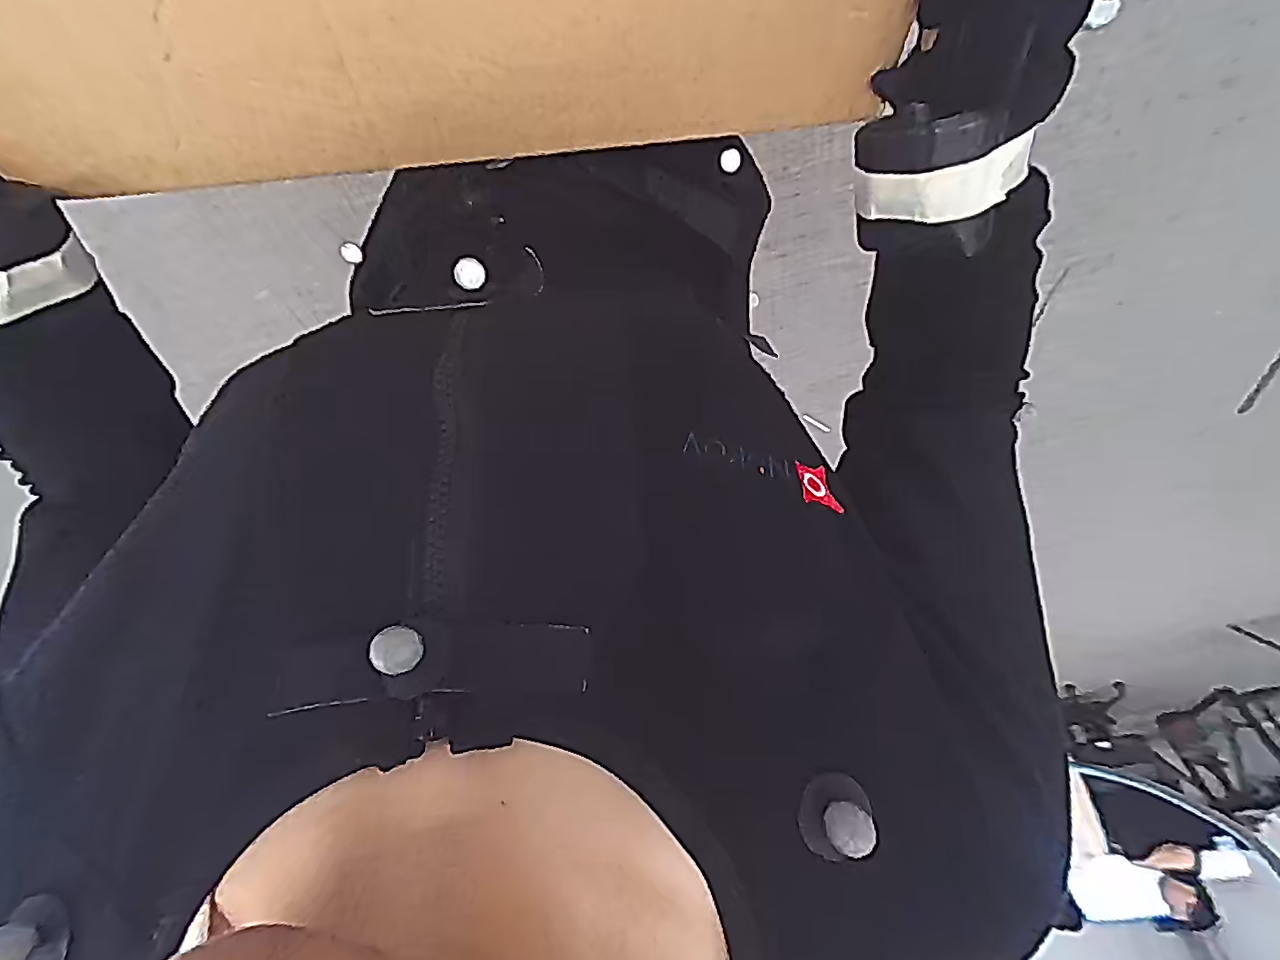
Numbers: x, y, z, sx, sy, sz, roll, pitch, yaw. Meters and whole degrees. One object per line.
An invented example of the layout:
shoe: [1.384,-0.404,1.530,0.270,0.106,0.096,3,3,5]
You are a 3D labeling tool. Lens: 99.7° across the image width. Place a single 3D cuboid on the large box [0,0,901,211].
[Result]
large box: [-0.103,-0.359,0.197,0.408,0.320,0.320,-8,155,-2]
